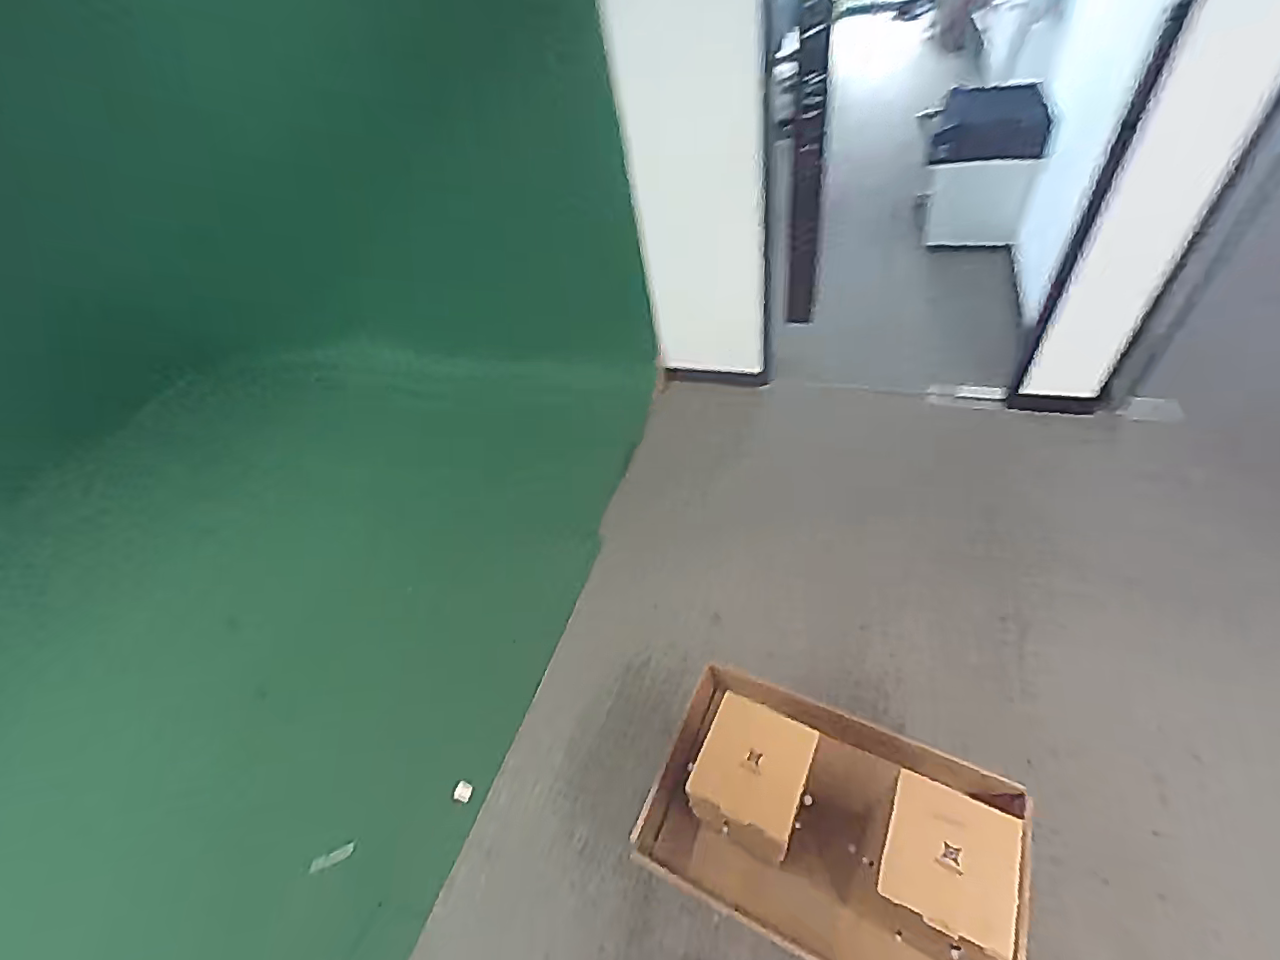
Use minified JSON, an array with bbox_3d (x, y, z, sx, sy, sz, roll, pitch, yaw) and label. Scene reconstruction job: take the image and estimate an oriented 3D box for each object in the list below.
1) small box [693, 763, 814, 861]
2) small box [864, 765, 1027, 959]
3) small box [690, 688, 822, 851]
[{"bbox_3d":[0.223,0.608,1.053,0.179,0.176,0.168,19,56,26],"label":"small box"},{"bbox_3d":[0.445,0.571,0.808,0.168,0.176,0.179,18,54,25],"label":"small box"},{"bbox_3d":[0.199,0.499,0.933,0.168,0.176,0.179,17,55,25],"label":"small box"}]
